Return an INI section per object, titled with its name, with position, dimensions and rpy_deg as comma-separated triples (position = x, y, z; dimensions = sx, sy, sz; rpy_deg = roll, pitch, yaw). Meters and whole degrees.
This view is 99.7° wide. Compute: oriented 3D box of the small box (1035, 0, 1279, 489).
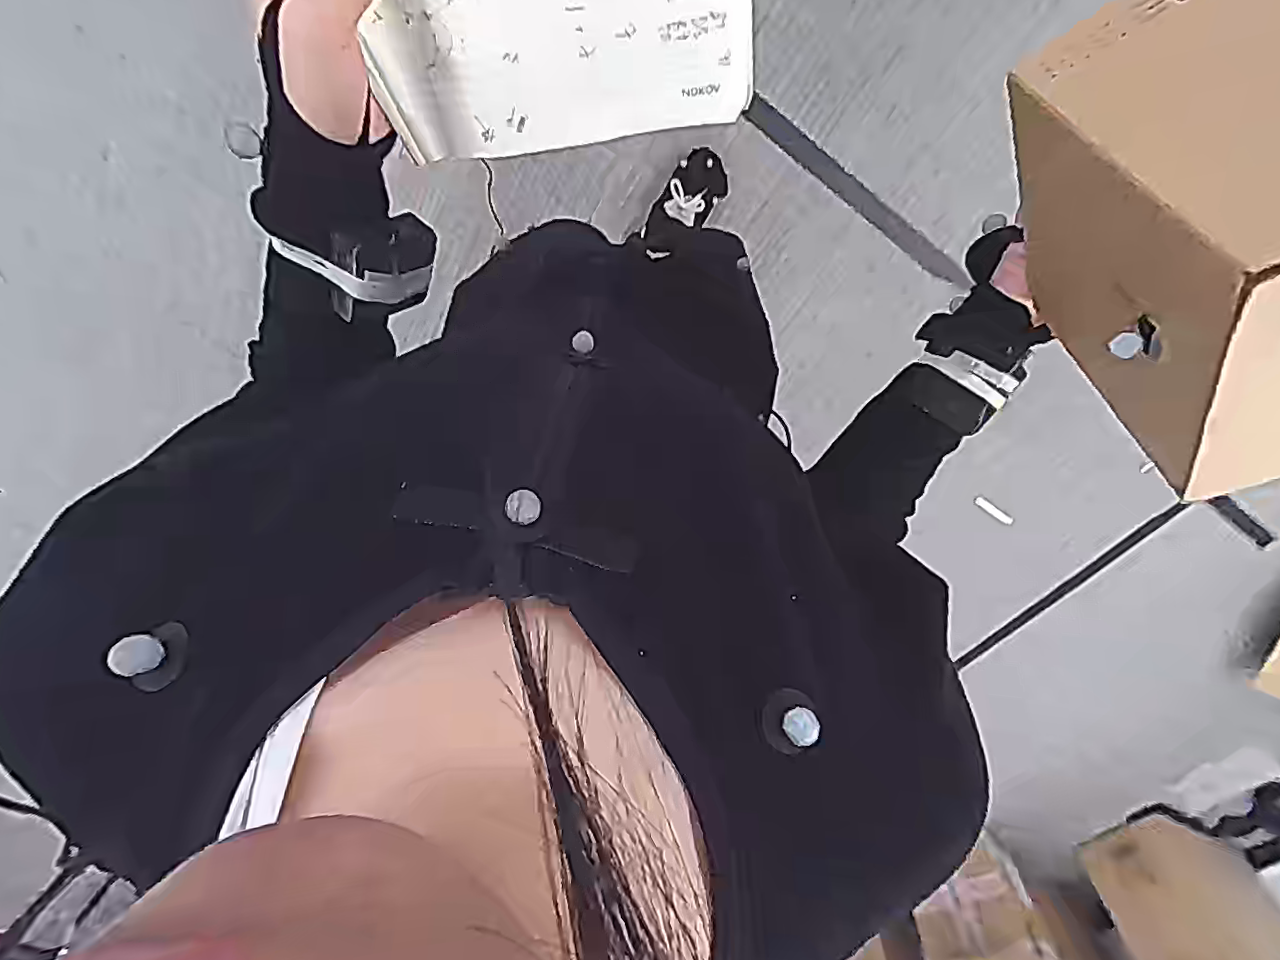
[small box]
position = 0.299, -0.128, 0.229
dimensions = 0.168, 0.176, 0.179
rpy_deg = -24, 141, 27
